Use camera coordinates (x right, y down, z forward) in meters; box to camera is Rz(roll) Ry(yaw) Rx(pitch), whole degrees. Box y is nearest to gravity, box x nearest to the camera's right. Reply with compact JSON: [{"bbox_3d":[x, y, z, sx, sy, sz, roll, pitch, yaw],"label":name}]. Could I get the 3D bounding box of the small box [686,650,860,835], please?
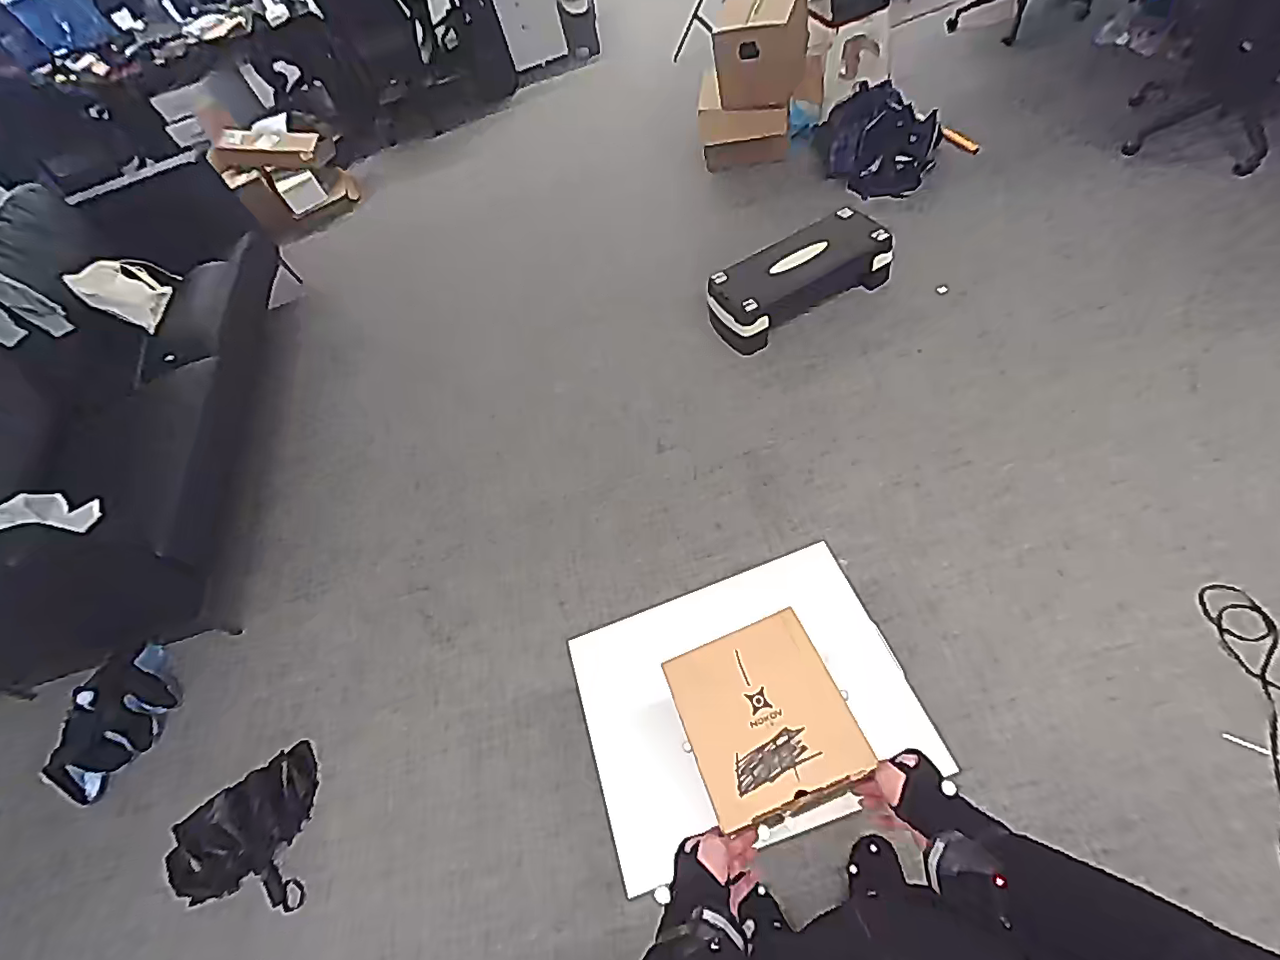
[{"bbox_3d":[0.182,0.375,0.763,0.168,0.176,0.179,-25,54,-1],"label":"small box"}]
